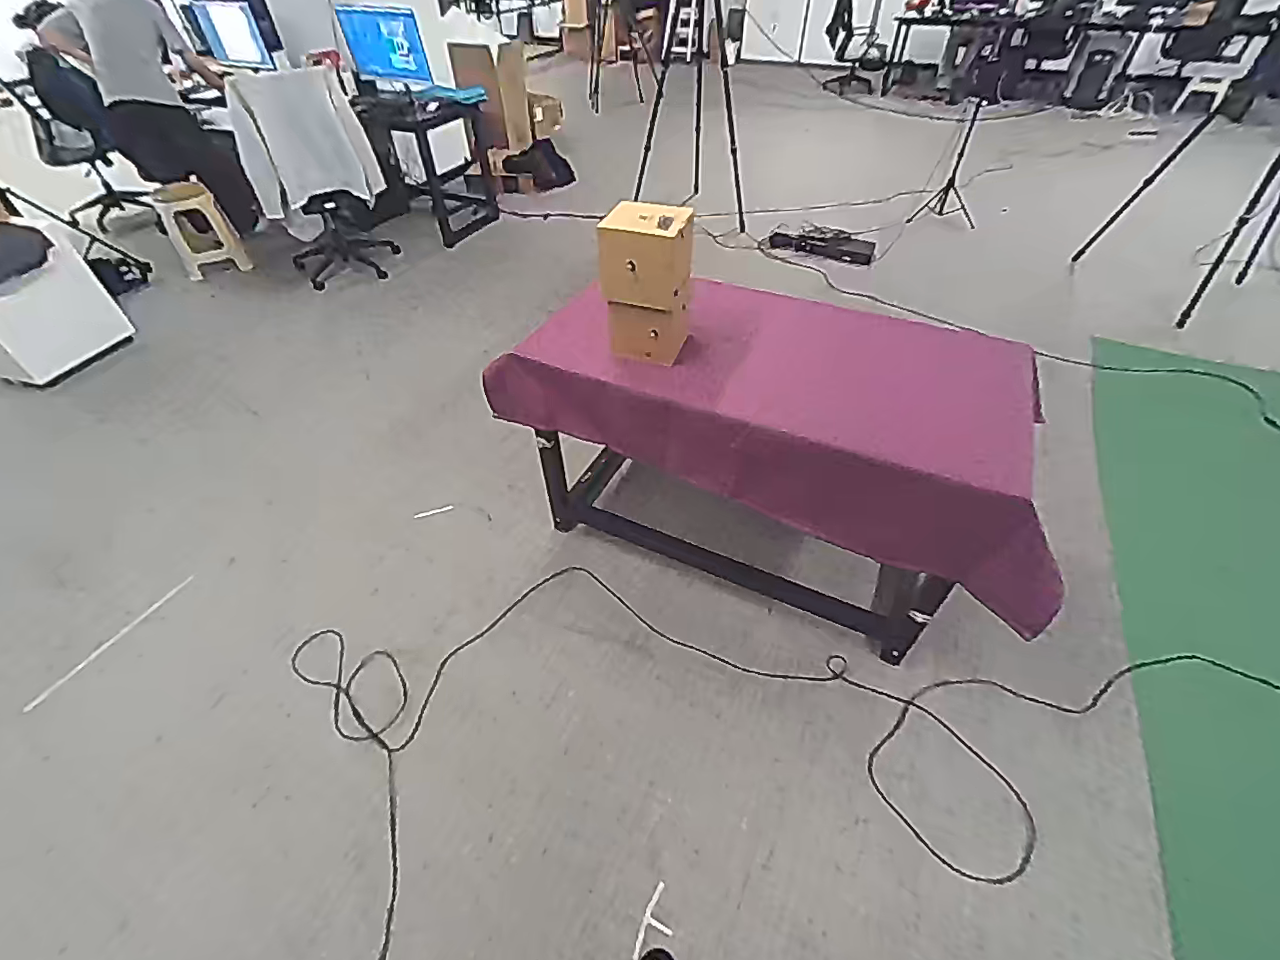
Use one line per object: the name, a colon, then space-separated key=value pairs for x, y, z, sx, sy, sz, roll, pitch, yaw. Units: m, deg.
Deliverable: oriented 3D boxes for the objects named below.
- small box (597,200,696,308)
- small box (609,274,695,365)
small box: x=0.018 y=-0.512 z=1.230 sx=0.179 sy=0.176 sz=0.168 roll=14 pitch=48 yaw=14
small box: x=0.034 y=-0.413 z=1.363 sx=0.168 sy=0.176 sz=0.179 roll=15 pitch=47 yaw=14
